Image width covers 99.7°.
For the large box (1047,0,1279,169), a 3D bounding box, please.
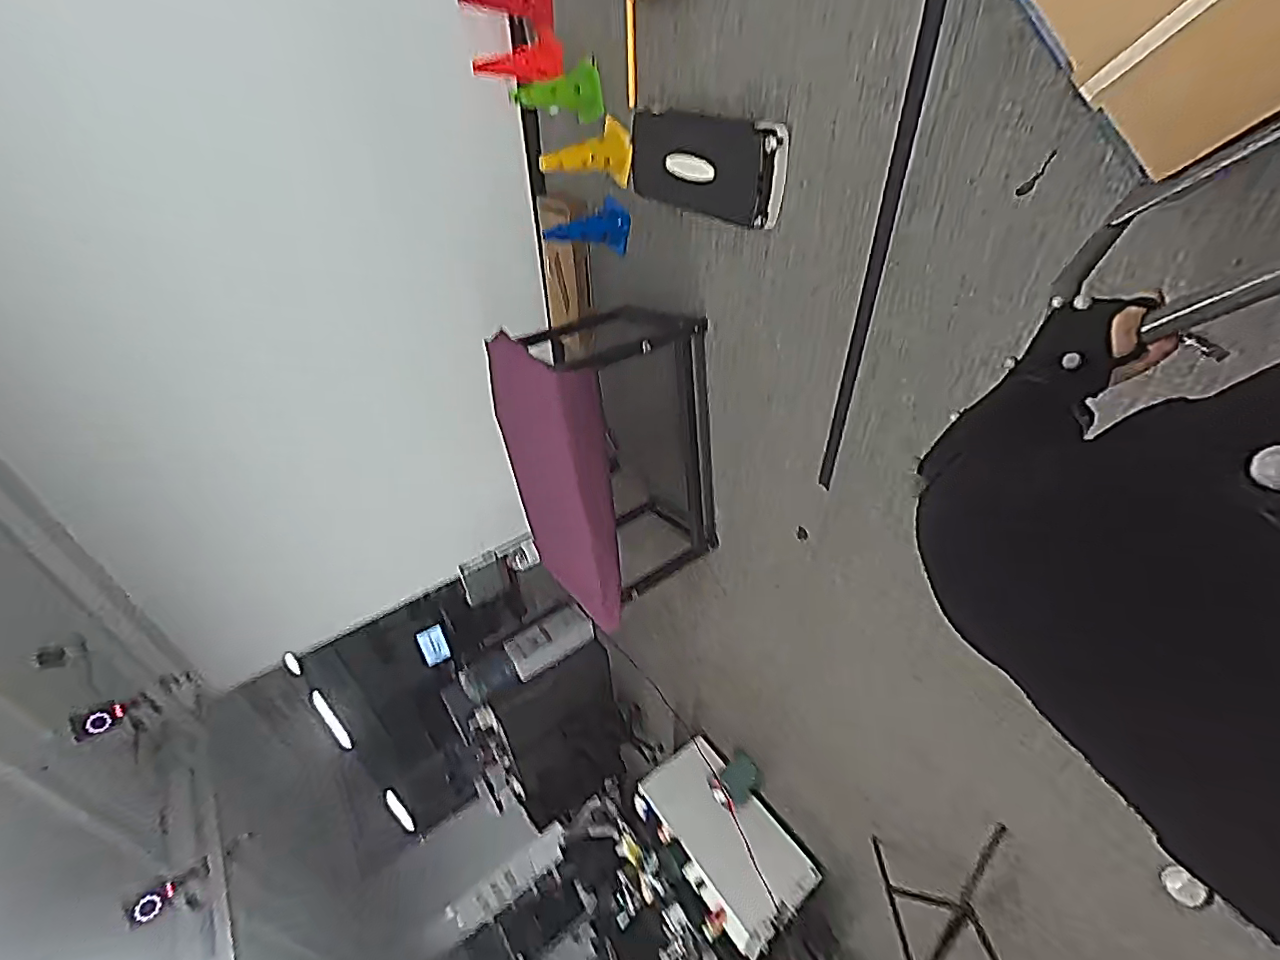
[{"bbox_3d":[0.791,-0.655,0.604,0.320,0.320,0.408,54,152,0],"label":"large box"}]
